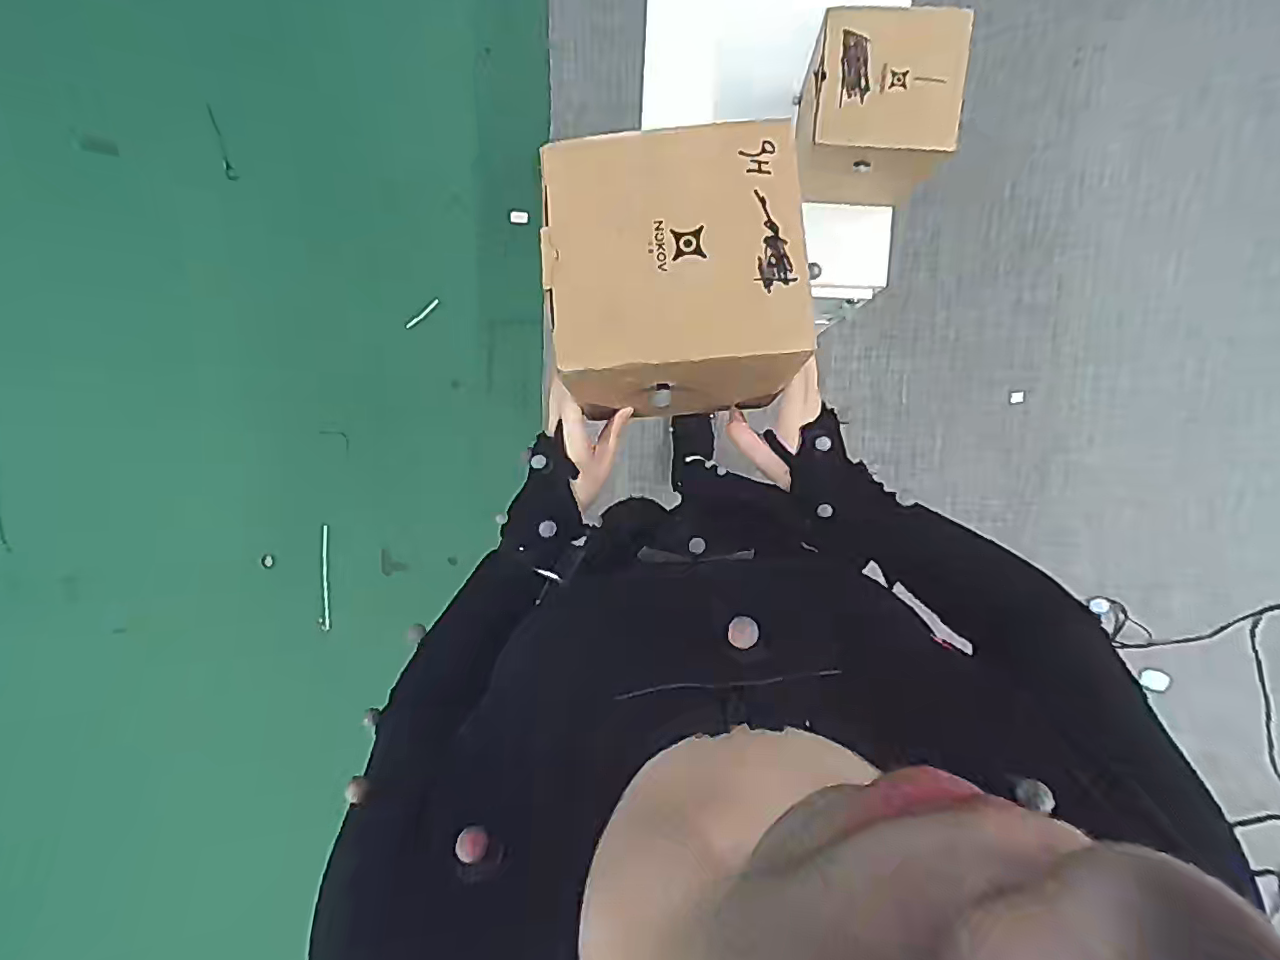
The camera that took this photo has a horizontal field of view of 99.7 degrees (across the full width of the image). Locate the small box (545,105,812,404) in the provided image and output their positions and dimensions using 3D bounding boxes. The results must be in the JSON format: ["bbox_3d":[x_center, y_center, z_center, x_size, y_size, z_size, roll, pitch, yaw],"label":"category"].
[{"bbox_3d":[0.029,-0.164,0.447,0.179,0.176,0.168,-4,85,3],"label":"small box"}]

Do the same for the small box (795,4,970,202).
[{"bbox_3d":[0.314,-0.505,0.748,0.179,0.176,0.168,6,96,4],"label":"small box"}]
